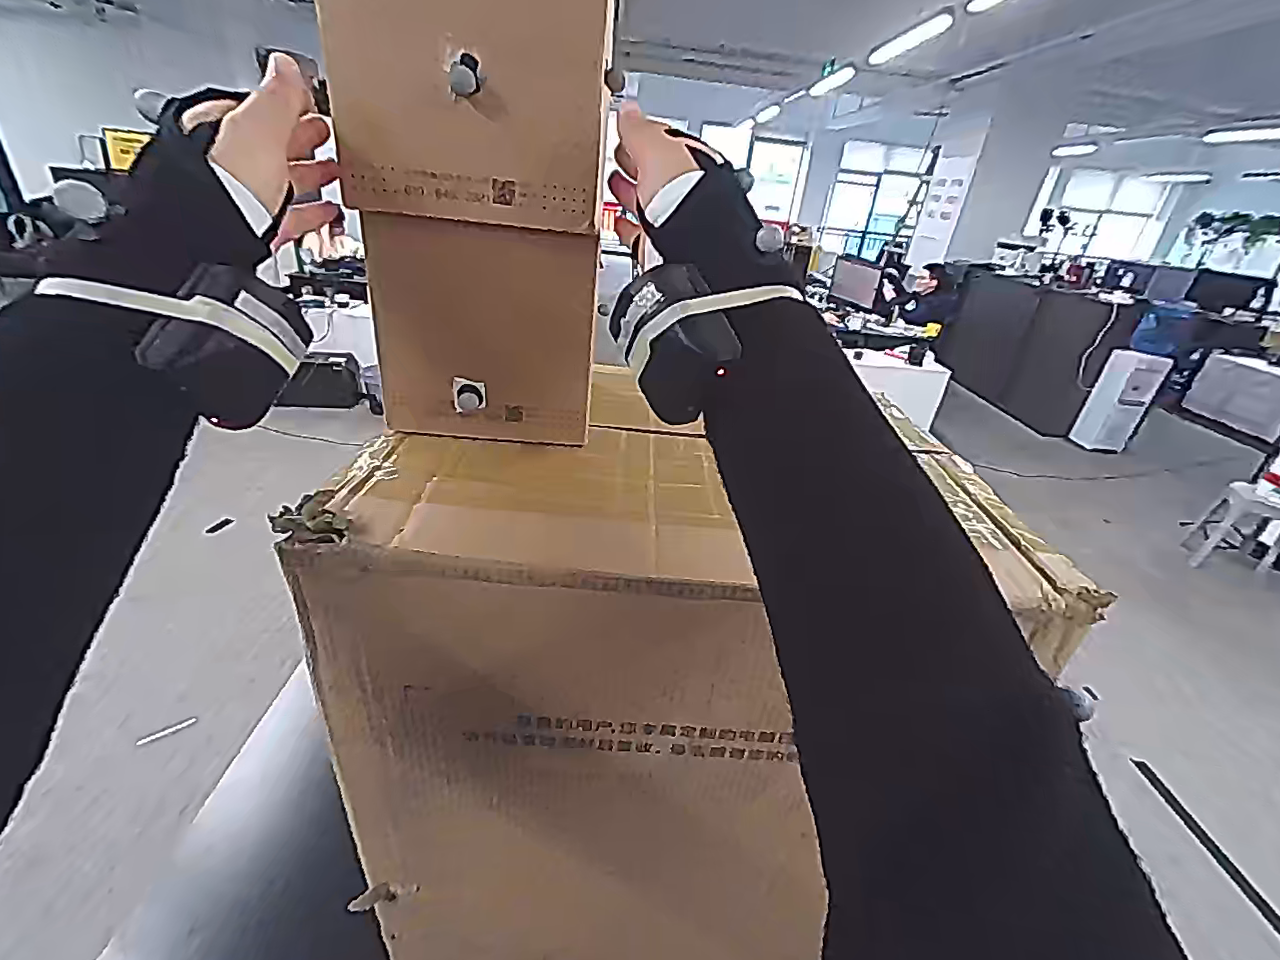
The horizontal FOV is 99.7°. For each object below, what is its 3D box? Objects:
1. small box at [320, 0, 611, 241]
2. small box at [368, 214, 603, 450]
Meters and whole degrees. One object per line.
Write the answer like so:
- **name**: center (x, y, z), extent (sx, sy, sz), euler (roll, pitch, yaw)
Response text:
- **small box**: center (-0.108, -0.278, 0.398), extent (0.168, 0.176, 0.179), euler (4, 28, -5)
- **small box**: center (-0.121, -0.141, 0.489), extent (0.168, 0.176, 0.179), euler (2, 29, -6)
